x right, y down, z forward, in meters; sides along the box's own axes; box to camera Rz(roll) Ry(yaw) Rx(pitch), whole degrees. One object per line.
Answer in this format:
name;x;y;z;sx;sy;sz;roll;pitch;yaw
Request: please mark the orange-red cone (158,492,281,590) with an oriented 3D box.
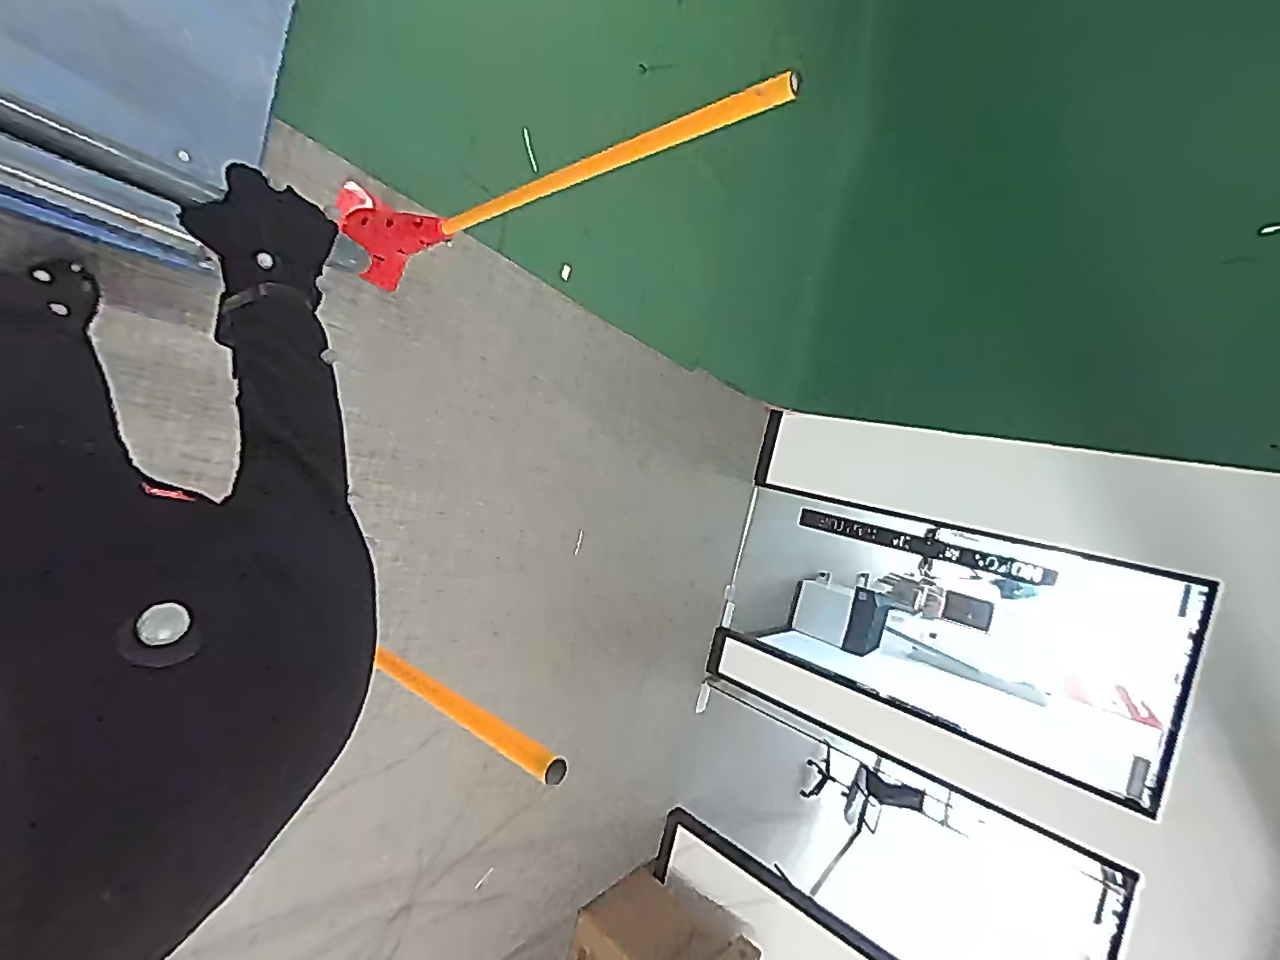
orange-red cone;-0.865;0.166;1.172;0.199;0.360;0.198;15;90;-52
